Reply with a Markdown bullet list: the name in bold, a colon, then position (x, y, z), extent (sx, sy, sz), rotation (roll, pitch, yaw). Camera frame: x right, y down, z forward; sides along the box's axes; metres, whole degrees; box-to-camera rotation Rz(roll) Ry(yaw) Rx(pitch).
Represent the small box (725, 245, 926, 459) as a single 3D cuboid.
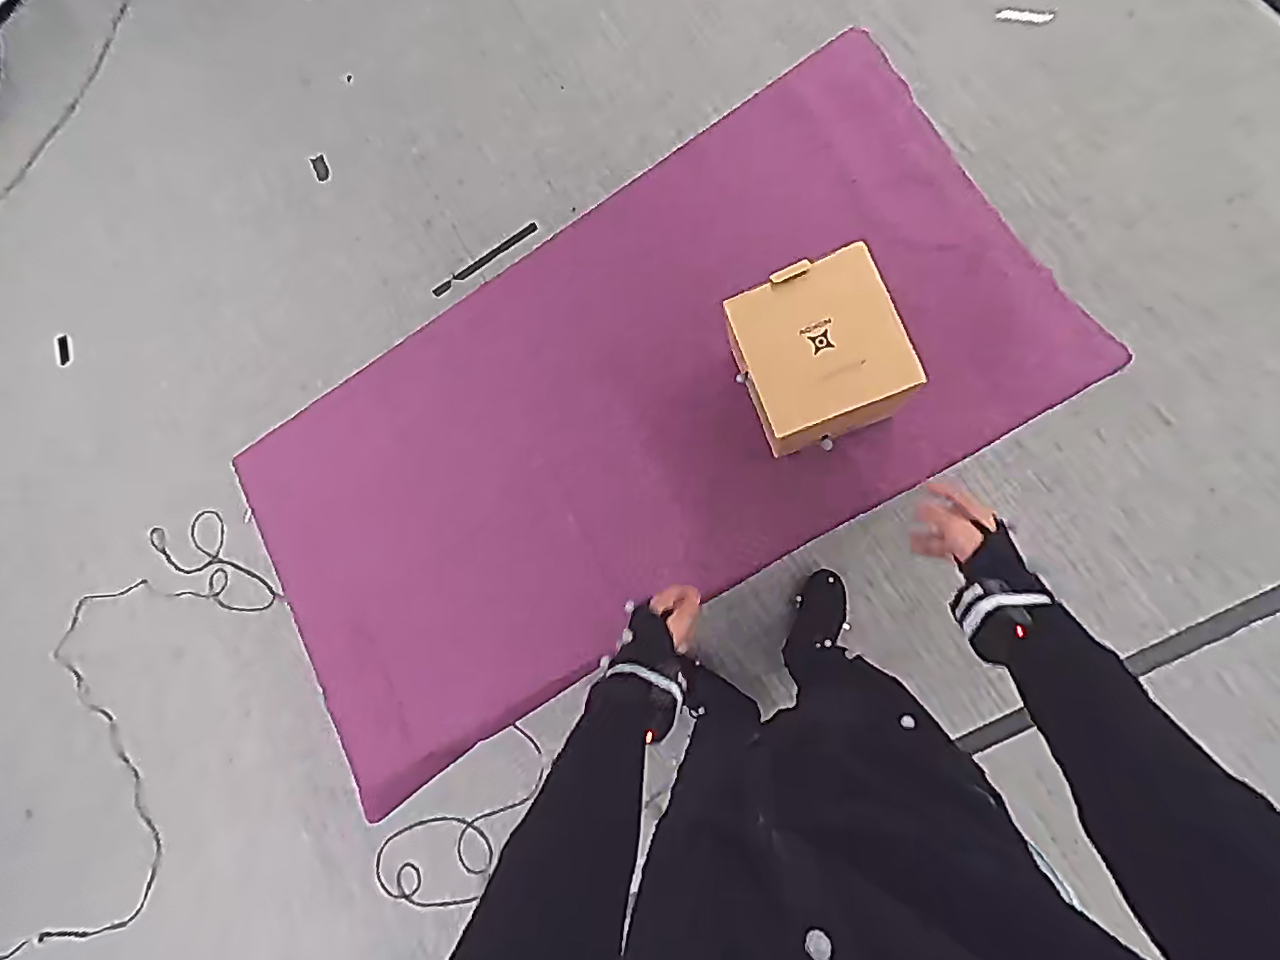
- **small box**: position (0.213, -0.141, 0.662), extent (0.168, 0.176, 0.179), rotation (-21, 79, 11)
